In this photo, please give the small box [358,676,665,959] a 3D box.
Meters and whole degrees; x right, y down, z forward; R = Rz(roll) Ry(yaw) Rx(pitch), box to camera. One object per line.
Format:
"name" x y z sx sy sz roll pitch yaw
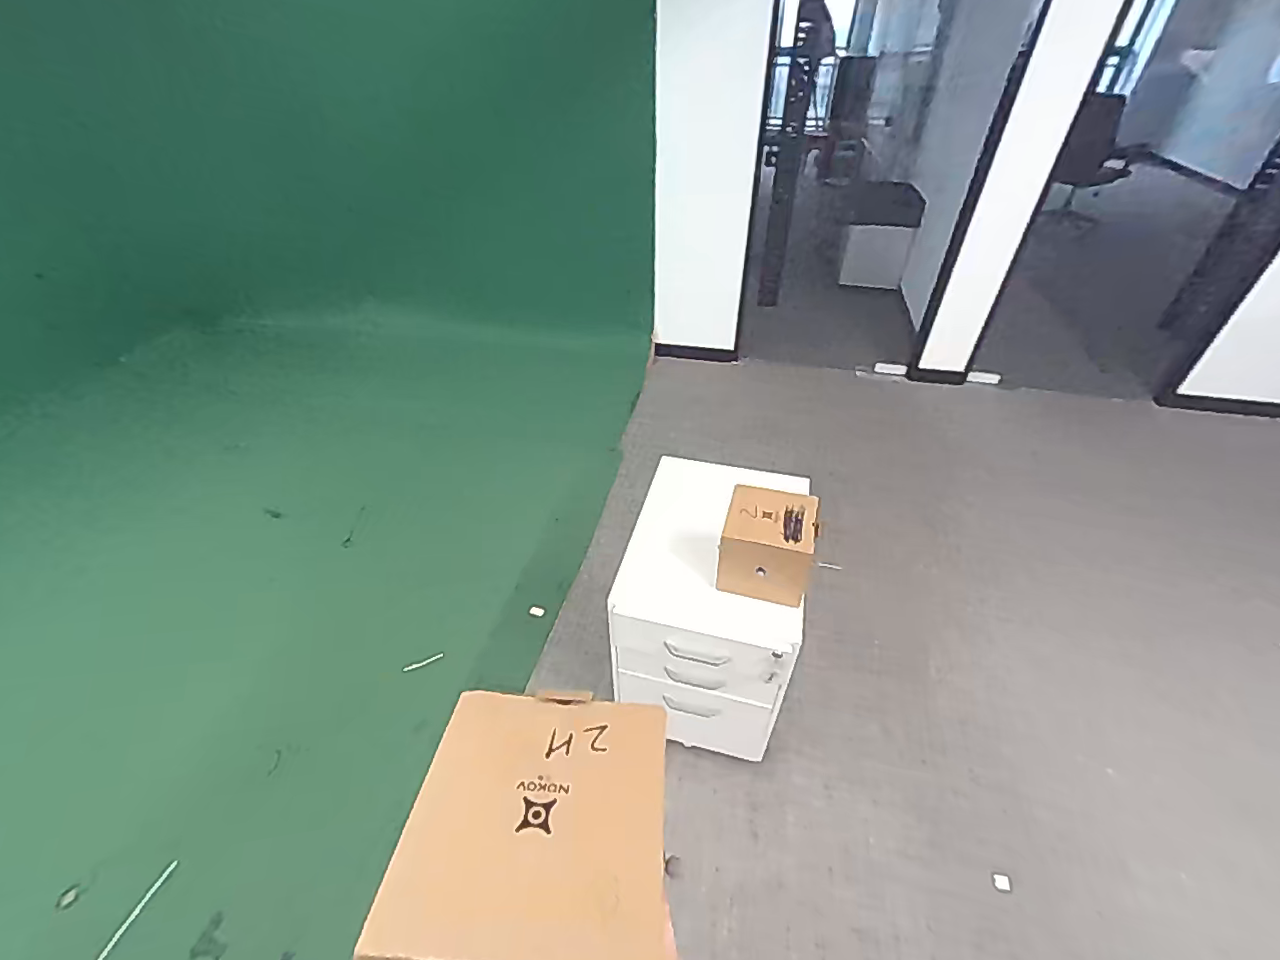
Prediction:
"small box" -0.071 0.278 0.401 0.168 0.176 0.179 5 28 2
